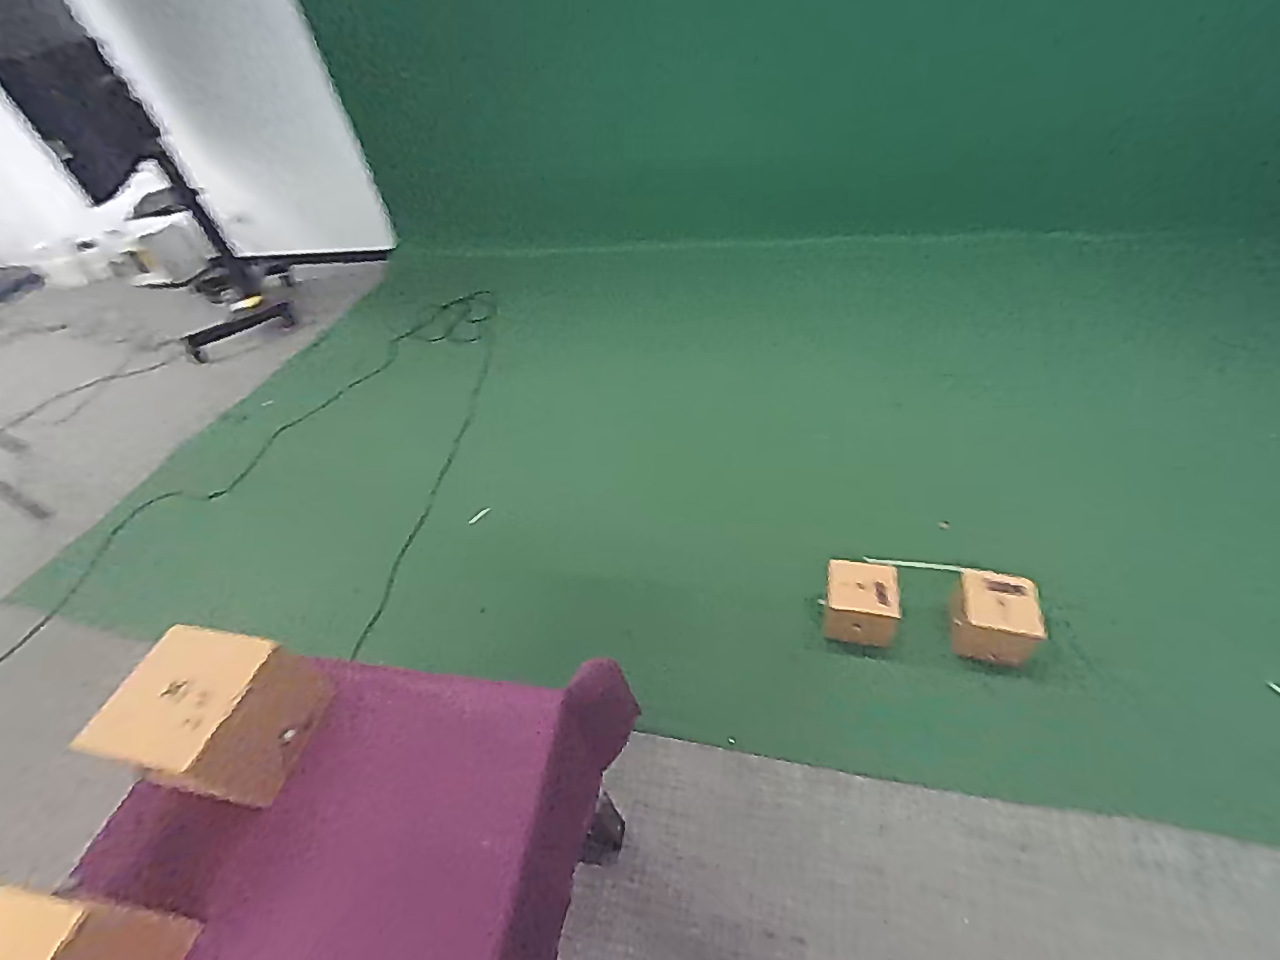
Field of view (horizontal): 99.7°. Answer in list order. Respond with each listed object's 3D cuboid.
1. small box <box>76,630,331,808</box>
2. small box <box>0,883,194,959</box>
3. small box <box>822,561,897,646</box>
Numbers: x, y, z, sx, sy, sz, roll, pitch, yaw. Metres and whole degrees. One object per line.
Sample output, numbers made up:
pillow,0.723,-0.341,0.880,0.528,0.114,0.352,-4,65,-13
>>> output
small box,-0.583,0.332,0.750,0.179,0.176,0.168,6,47,11
small box,-0.638,0.541,0.559,0.179,0.176,0.168,2,46,11
small box,0.623,0.357,1.549,0.179,0.176,0.168,4,46,16
